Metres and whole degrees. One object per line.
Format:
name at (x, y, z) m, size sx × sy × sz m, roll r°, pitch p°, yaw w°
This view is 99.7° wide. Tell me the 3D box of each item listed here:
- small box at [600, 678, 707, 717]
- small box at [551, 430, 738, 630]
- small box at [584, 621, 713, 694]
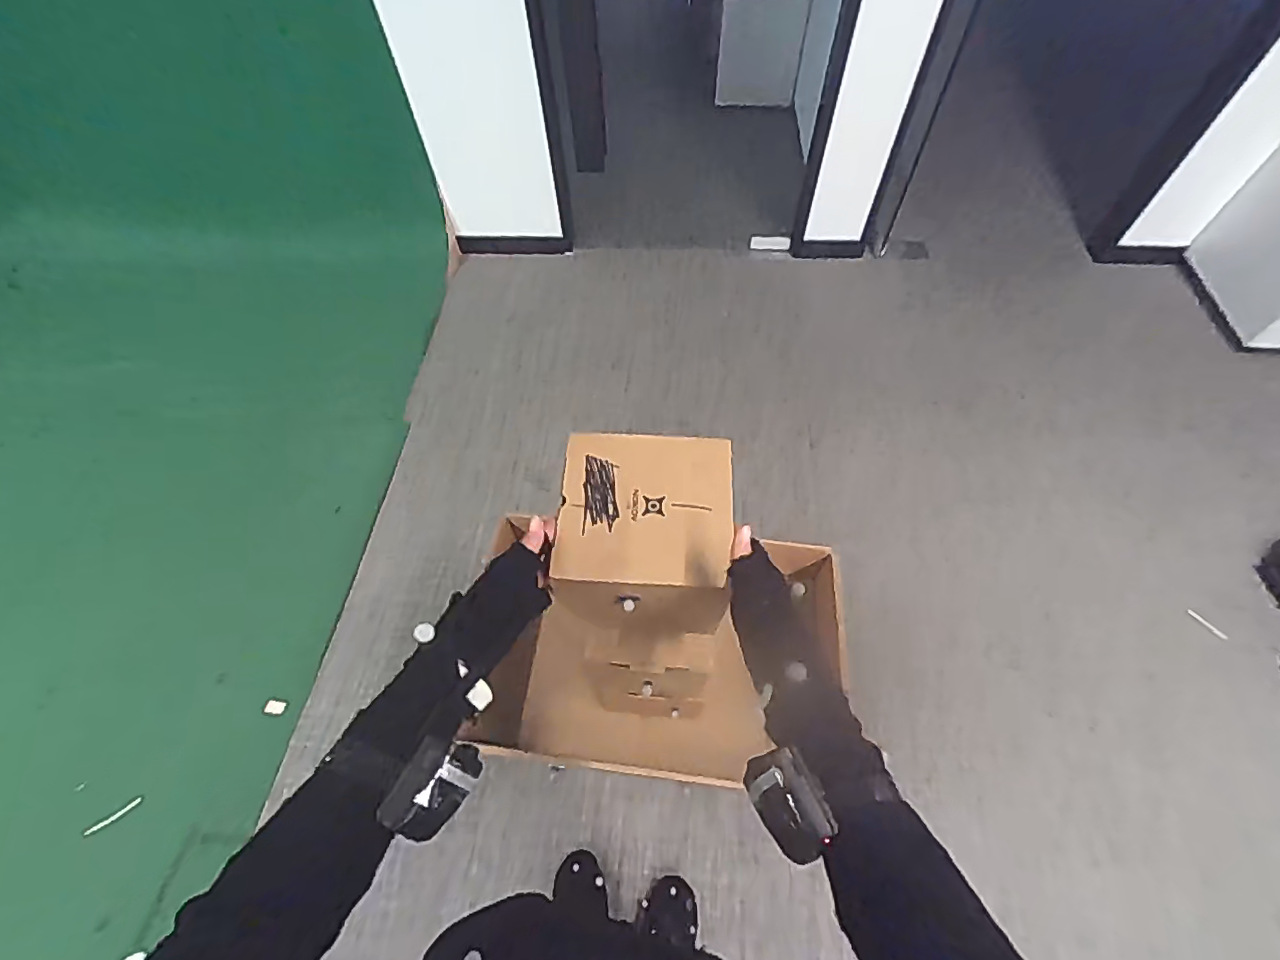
small box at (0.030, 0.296, 0.925) m, size 0.168 × 0.176 × 0.179 m, roll 4°, pitch 56°, yaw 3°
small box at (0.009, 0.062, 0.603) m, size 0.179 × 0.176 × 0.168 m, roll 4°, pitch 60°, yaw 1°
small box at (0.020, 0.205, 0.789) m, size 0.168 × 0.176 × 0.179 m, roll 4°, pitch 59°, yaw 3°
